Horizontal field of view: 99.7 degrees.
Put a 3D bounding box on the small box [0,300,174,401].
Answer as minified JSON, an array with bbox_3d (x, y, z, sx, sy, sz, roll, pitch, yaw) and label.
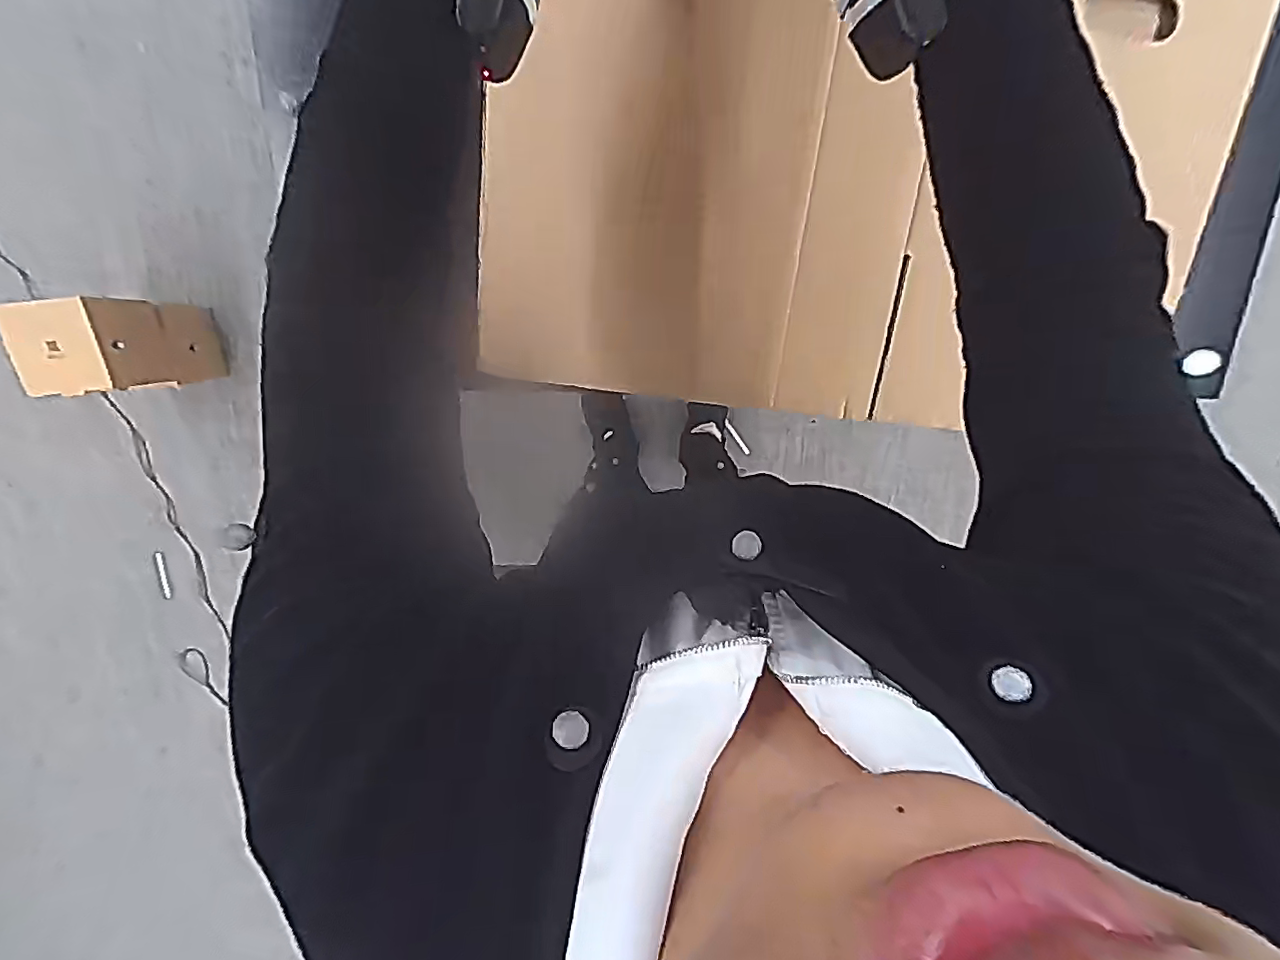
[{"bbox_3d":[-1.112,-0.265,1.101,0.168,0.176,0.179,-7,105,-2],"label":"small box"}]

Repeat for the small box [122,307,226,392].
[{"bbox_3d":[-1.118,-0.304,1.259,0.168,0.176,0.179,-4,107,-2],"label":"small box"}]
